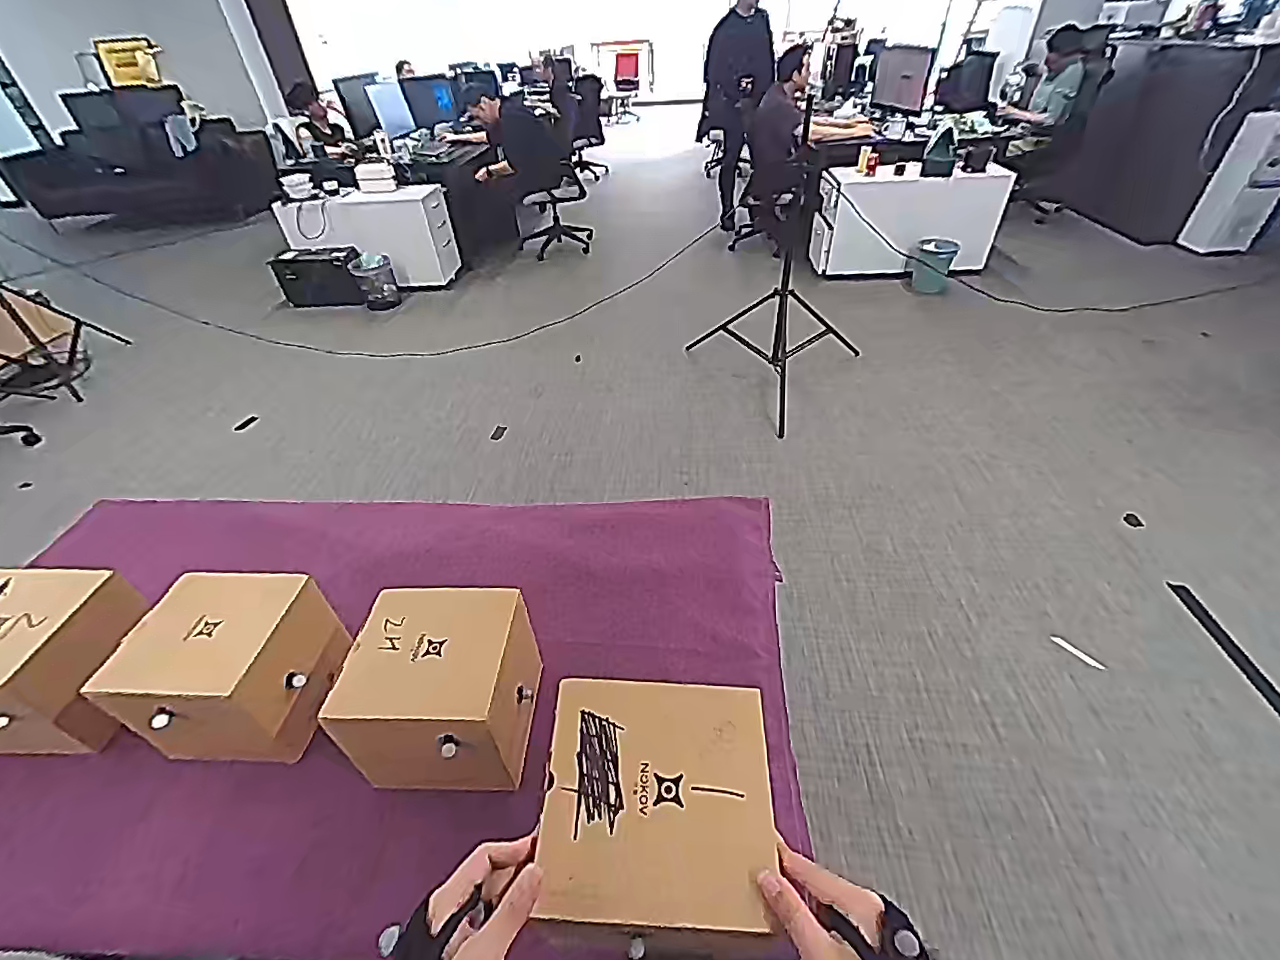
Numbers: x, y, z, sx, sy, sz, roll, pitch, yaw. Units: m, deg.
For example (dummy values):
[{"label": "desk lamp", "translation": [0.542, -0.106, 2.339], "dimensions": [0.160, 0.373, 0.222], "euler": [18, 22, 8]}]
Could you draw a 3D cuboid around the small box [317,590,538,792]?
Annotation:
[{"label": "small box", "translation": [-0.228, 0.250, 0.642], "dimensions": [0.179, 0.176, 0.168], "euler": [-1, 38, 4]}]

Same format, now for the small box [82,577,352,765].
[{"label": "small box", "translation": [-0.503, 0.241, 0.682], "dimensions": [0.179, 0.176, 0.168], "euler": [-1, 40, 5]}]

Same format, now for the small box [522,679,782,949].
[{"label": "small box", "translation": [0.012, 0.288, 0.466], "dimensions": [0.179, 0.176, 0.168], "euler": [2, 47, 2]}]
